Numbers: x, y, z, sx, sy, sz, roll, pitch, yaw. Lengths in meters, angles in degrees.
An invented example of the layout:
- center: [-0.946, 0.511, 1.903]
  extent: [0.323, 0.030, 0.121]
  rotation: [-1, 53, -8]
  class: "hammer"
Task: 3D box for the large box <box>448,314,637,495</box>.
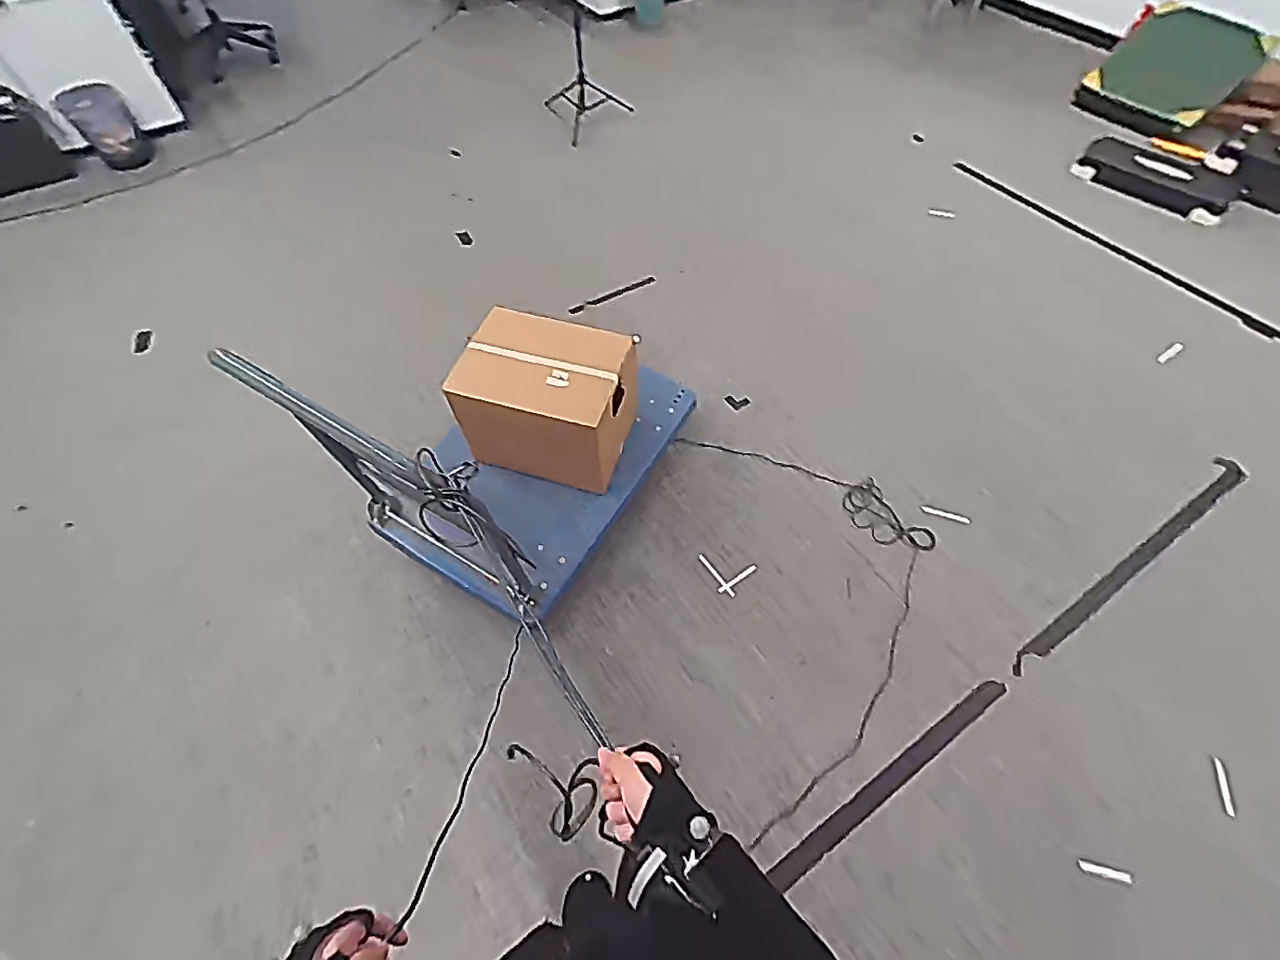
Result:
- center: [-0.242, -0.202, 1.487]
  extent: [0.408, 0.320, 0.320]
  rotation: [15, 59, 8]
  class: "large box"
